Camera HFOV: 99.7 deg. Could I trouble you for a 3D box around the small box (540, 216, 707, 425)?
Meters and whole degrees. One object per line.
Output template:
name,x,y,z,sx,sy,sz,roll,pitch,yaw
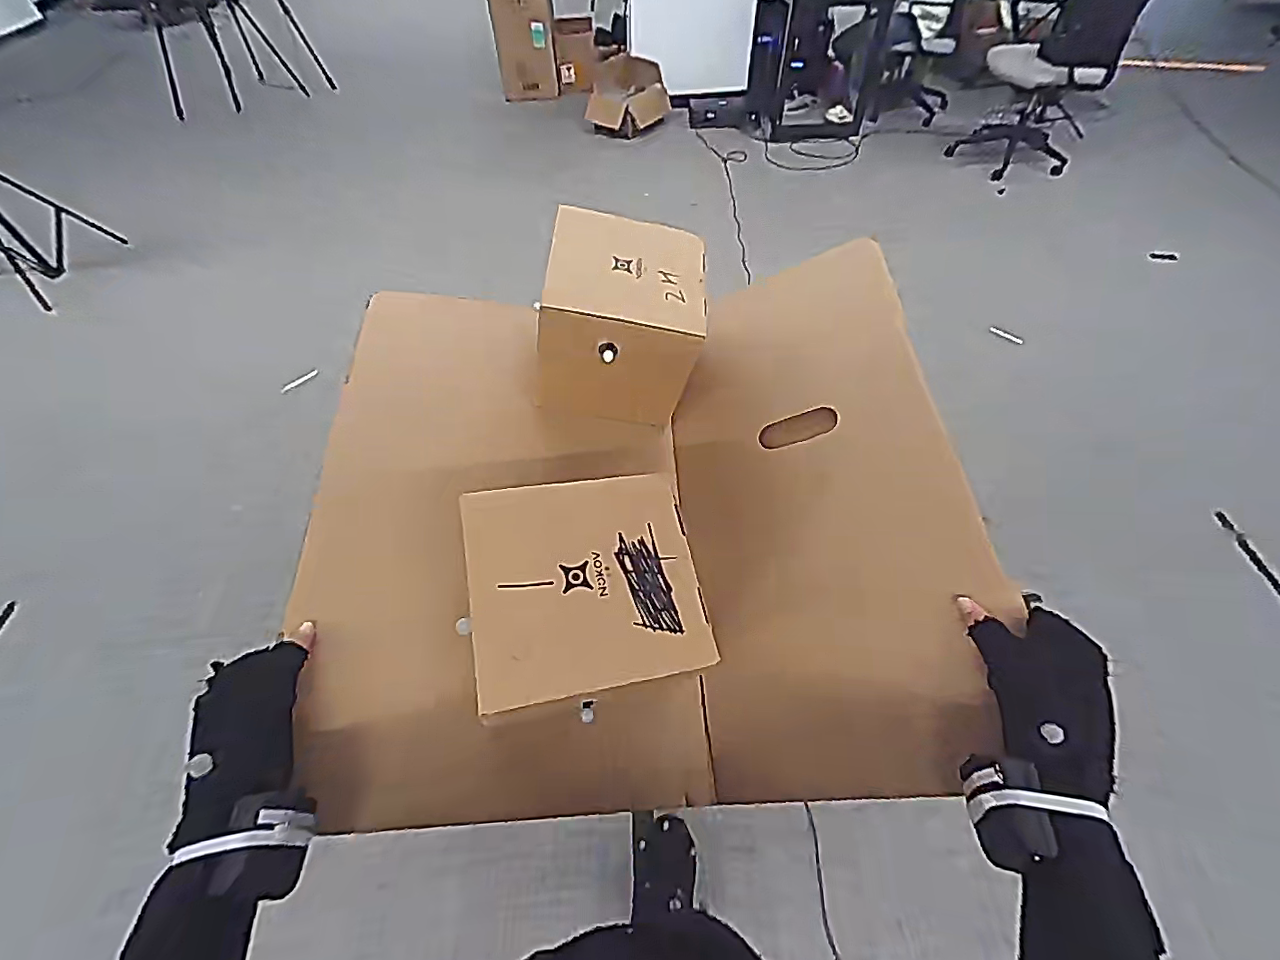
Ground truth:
small box,-0.025,-0.188,0.672,0.179,0.176,0.168,9,60,-9

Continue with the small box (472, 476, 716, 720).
small box,-0.055,0.112,0.496,0.179,0.176,0.168,-6,63,-16
